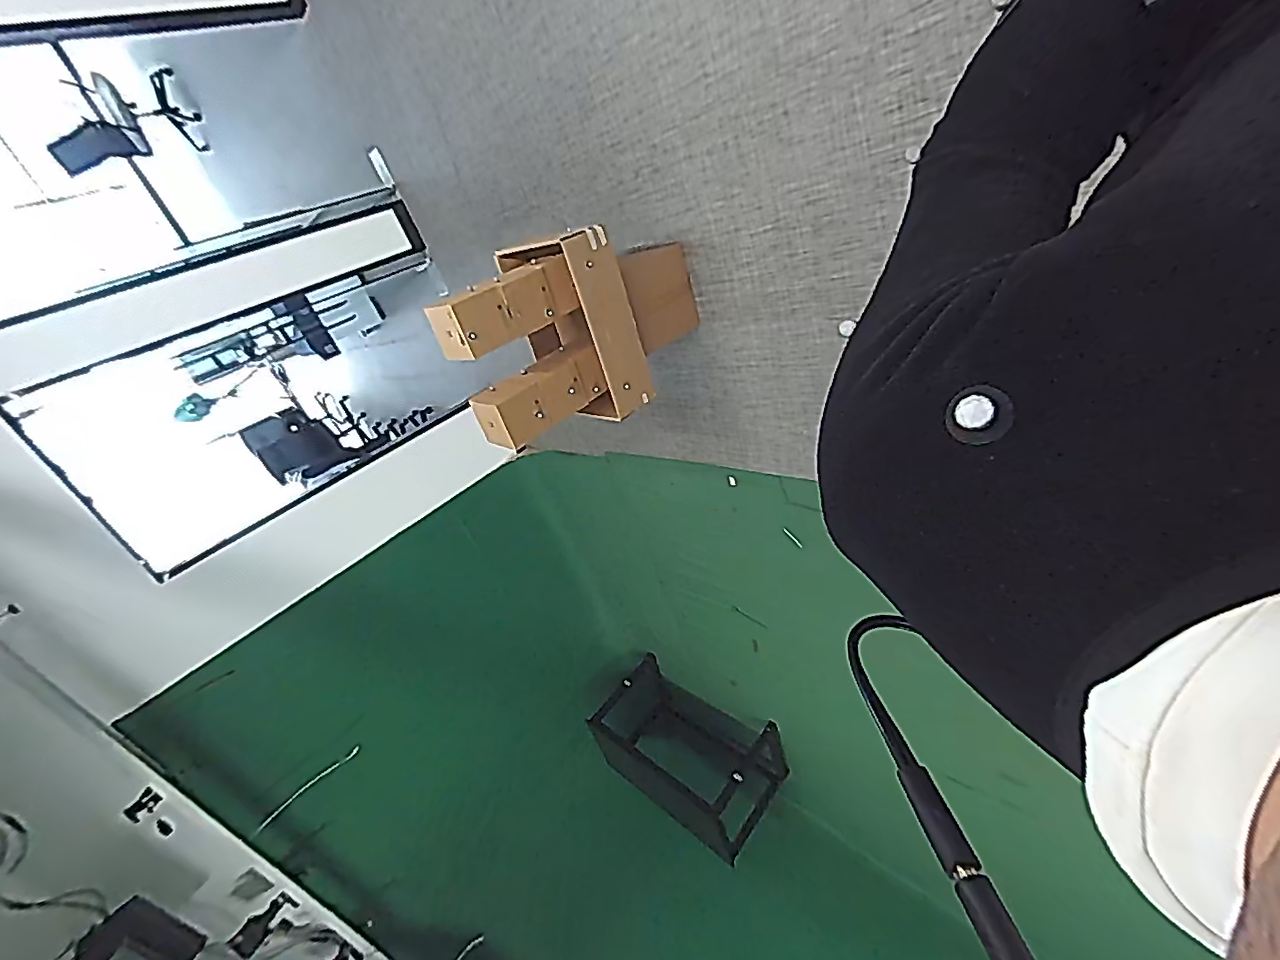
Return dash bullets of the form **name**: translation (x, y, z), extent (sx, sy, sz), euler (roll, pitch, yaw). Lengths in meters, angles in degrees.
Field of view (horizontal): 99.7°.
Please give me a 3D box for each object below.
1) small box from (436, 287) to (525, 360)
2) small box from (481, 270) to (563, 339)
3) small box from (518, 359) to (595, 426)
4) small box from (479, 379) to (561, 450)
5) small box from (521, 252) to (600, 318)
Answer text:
- **small box**: translation (-0.481, -0.477, 1.648), extent (0.179, 0.176, 0.168), euler (13, 132, 45)
- **small box**: translation (-0.369, -0.564, 1.730), extent (0.179, 0.176, 0.168), euler (16, 134, 43)
- **small box**: translation (-0.286, -0.312, 1.882), extent (0.179, 0.176, 0.168), euler (17, 136, 43)
- **small box**: translation (-0.394, -0.225, 1.796), extent (0.179, 0.176, 0.168), euler (17, 136, 43)
- **small box**: translation (-0.264, -0.655, 1.820), extent (0.179, 0.176, 0.168), euler (14, 133, 44)
